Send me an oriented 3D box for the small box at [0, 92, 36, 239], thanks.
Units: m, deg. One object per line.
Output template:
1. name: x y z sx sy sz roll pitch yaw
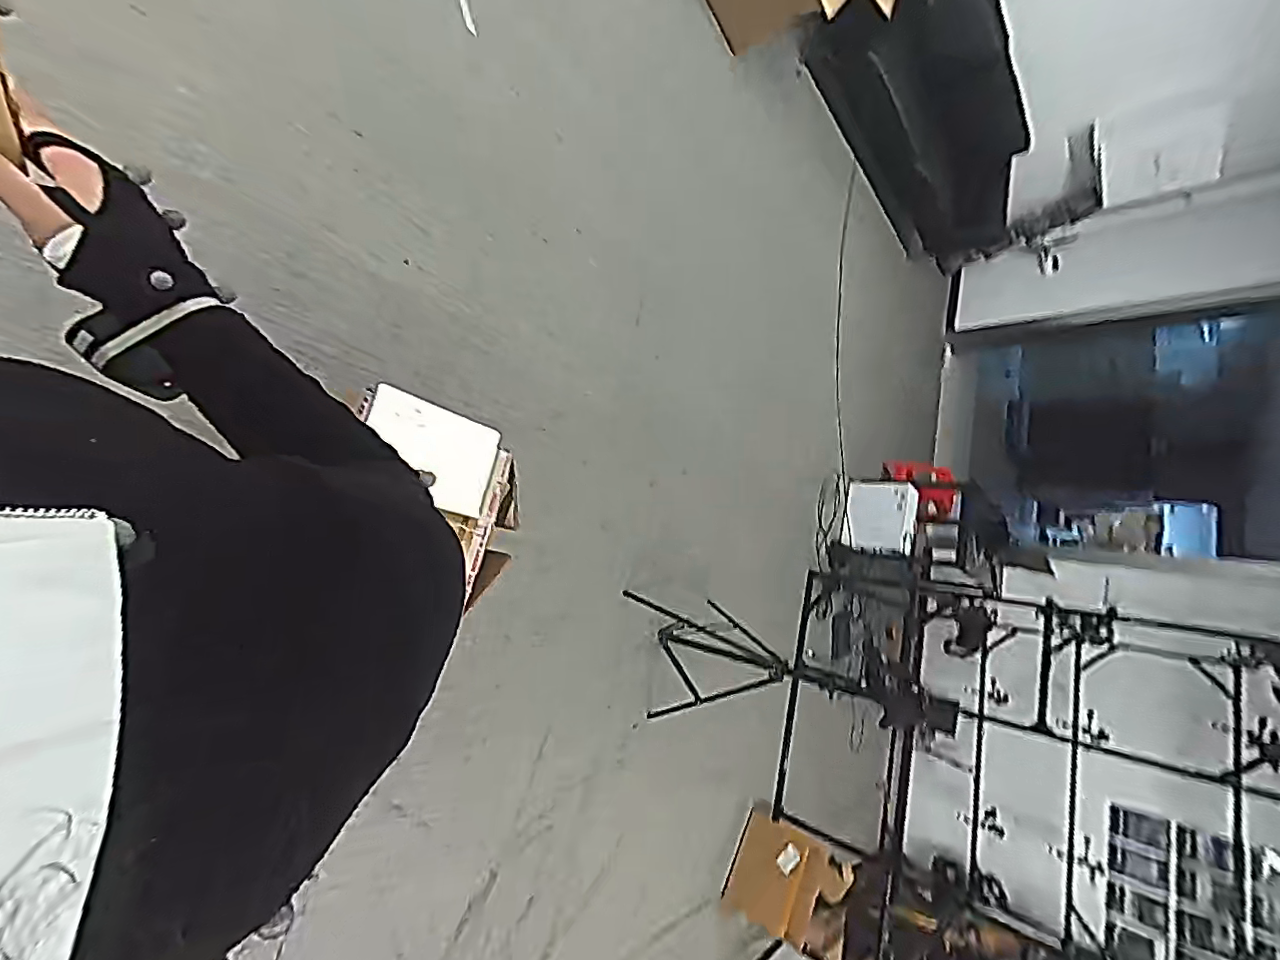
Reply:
1. small box: -0.531 -0.248 0.335 0.179 0.176 0.168 -17 115 -47
